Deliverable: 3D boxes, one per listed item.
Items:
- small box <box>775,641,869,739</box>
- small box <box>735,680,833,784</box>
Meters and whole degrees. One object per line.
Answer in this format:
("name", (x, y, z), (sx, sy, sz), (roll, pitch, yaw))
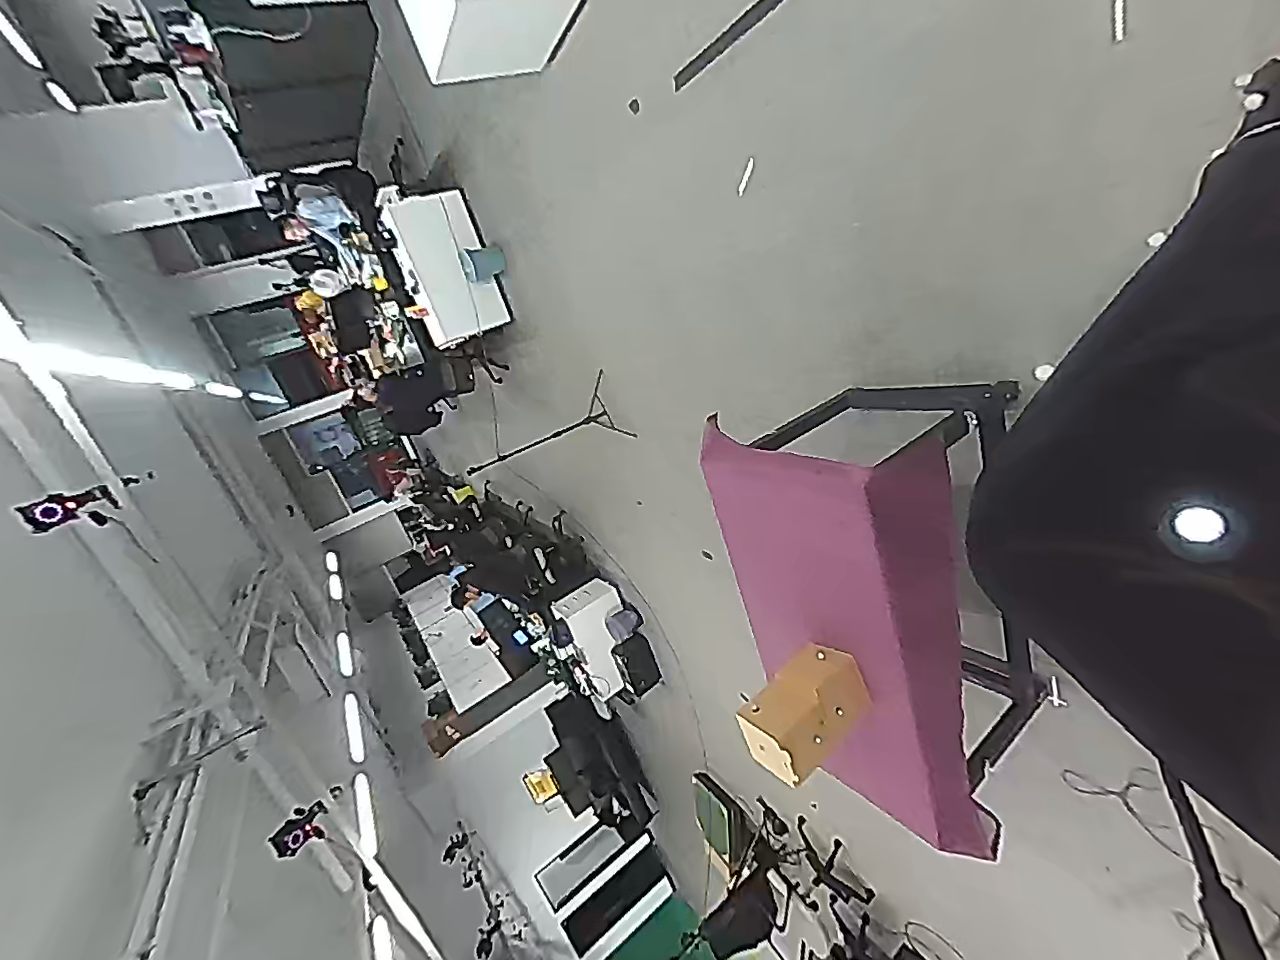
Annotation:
("small box", (0.529, 0.599, 1.562), (0.168, 0.176, 0.179), (-6, 109, 63))
("small box", (0.401, 0.689, 1.505), (0.179, 0.176, 0.168), (4, 120, 61))
